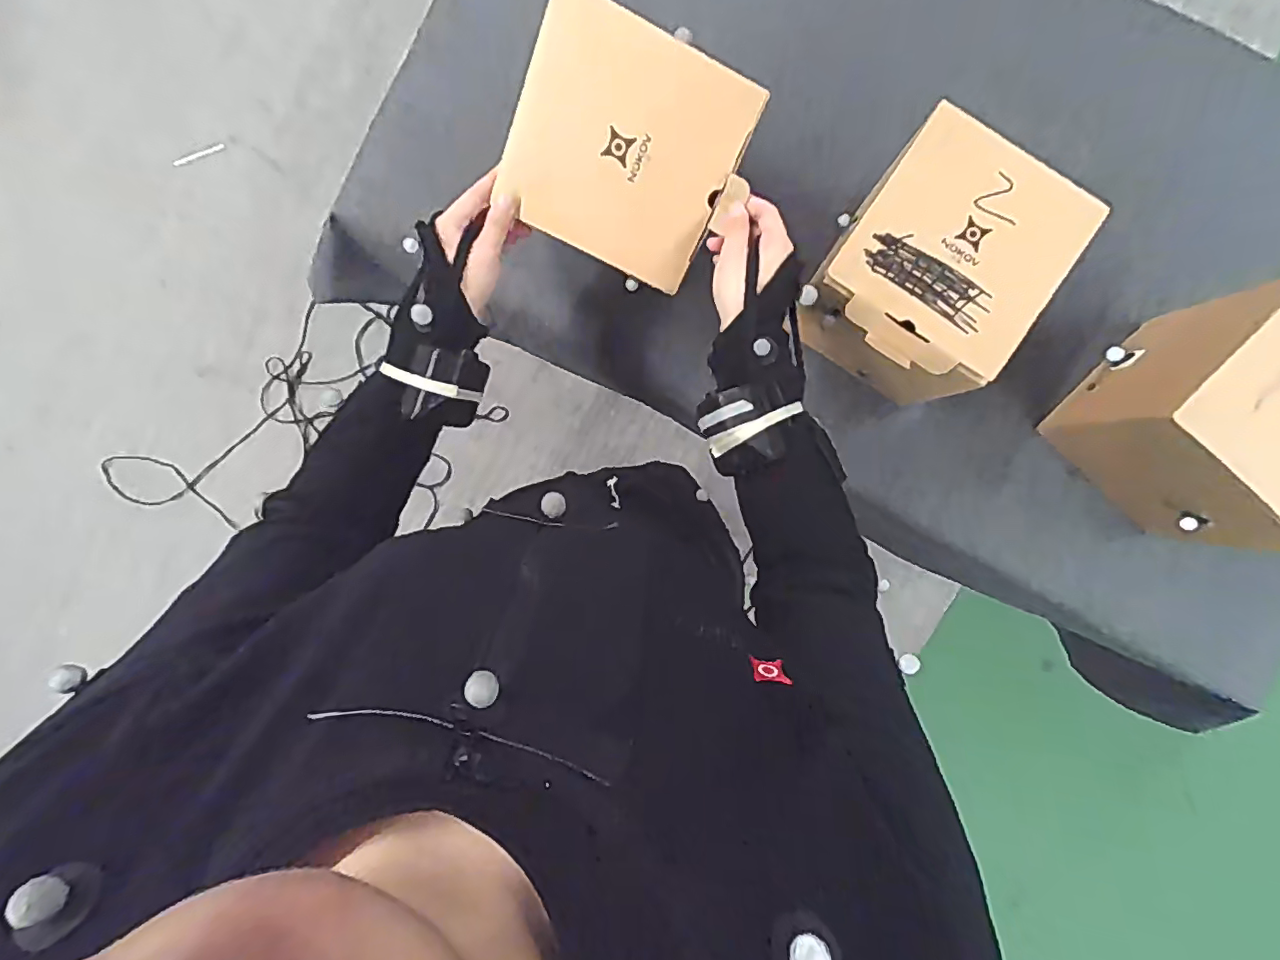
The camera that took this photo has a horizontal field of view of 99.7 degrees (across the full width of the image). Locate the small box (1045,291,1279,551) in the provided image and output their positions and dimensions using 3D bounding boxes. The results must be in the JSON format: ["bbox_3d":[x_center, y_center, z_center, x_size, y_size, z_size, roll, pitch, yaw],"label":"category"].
[{"bbox_3d":[0.561,-0.057,0.522,0.179,0.176,0.168,44,93,1],"label":"small box"}]
